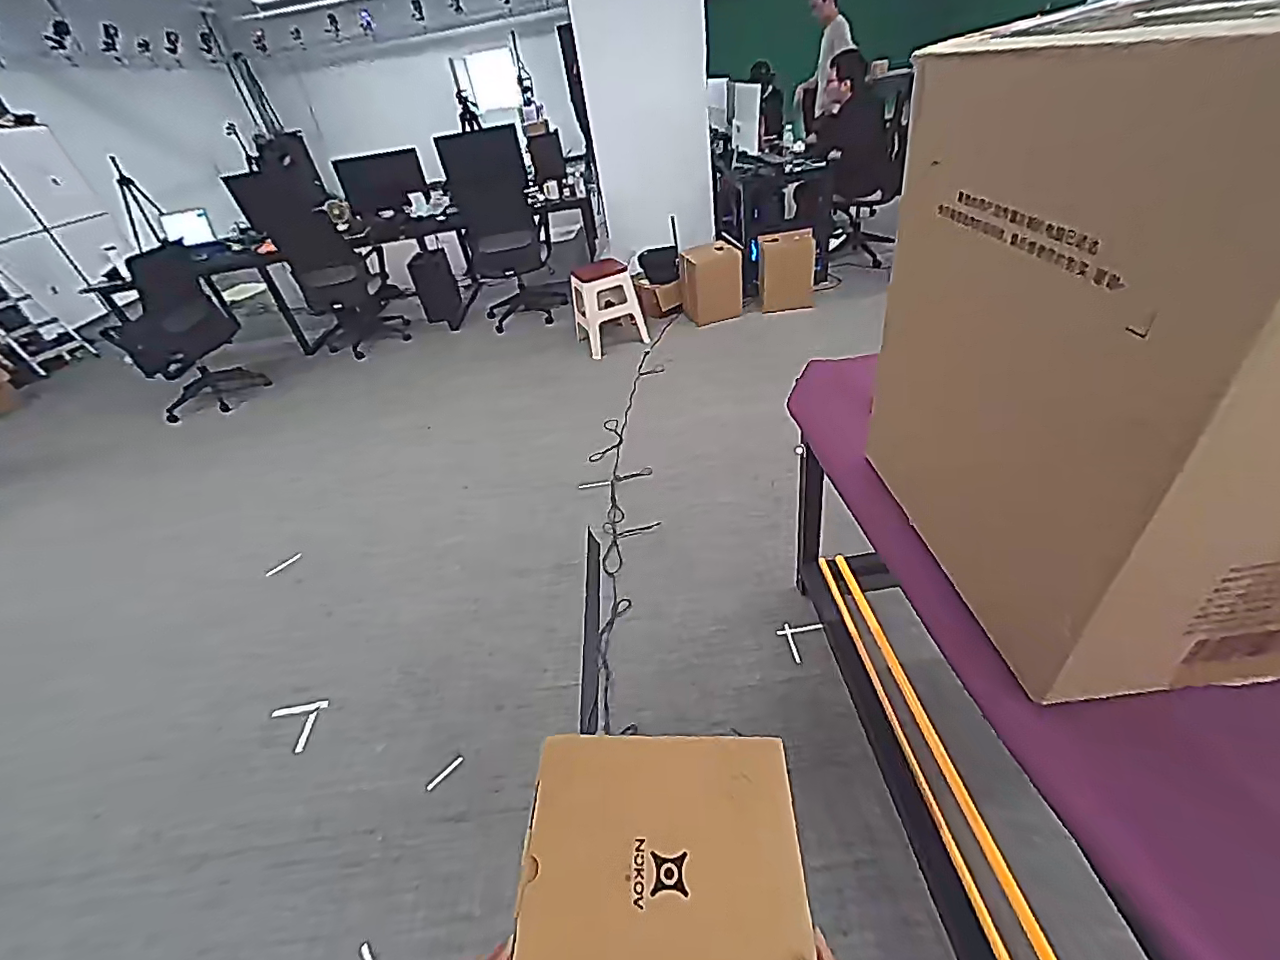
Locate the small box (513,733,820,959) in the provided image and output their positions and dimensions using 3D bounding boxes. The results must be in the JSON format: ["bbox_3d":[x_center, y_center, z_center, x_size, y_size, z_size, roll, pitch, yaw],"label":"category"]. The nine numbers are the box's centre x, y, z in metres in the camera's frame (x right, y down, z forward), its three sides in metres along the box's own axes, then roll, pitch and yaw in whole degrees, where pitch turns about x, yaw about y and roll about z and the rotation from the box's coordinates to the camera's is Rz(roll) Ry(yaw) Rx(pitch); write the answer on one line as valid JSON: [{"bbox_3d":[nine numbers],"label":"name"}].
[{"bbox_3d":[0.018,0.300,0.389,0.179,0.176,0.168,-1,43,3],"label":"small box"}]
